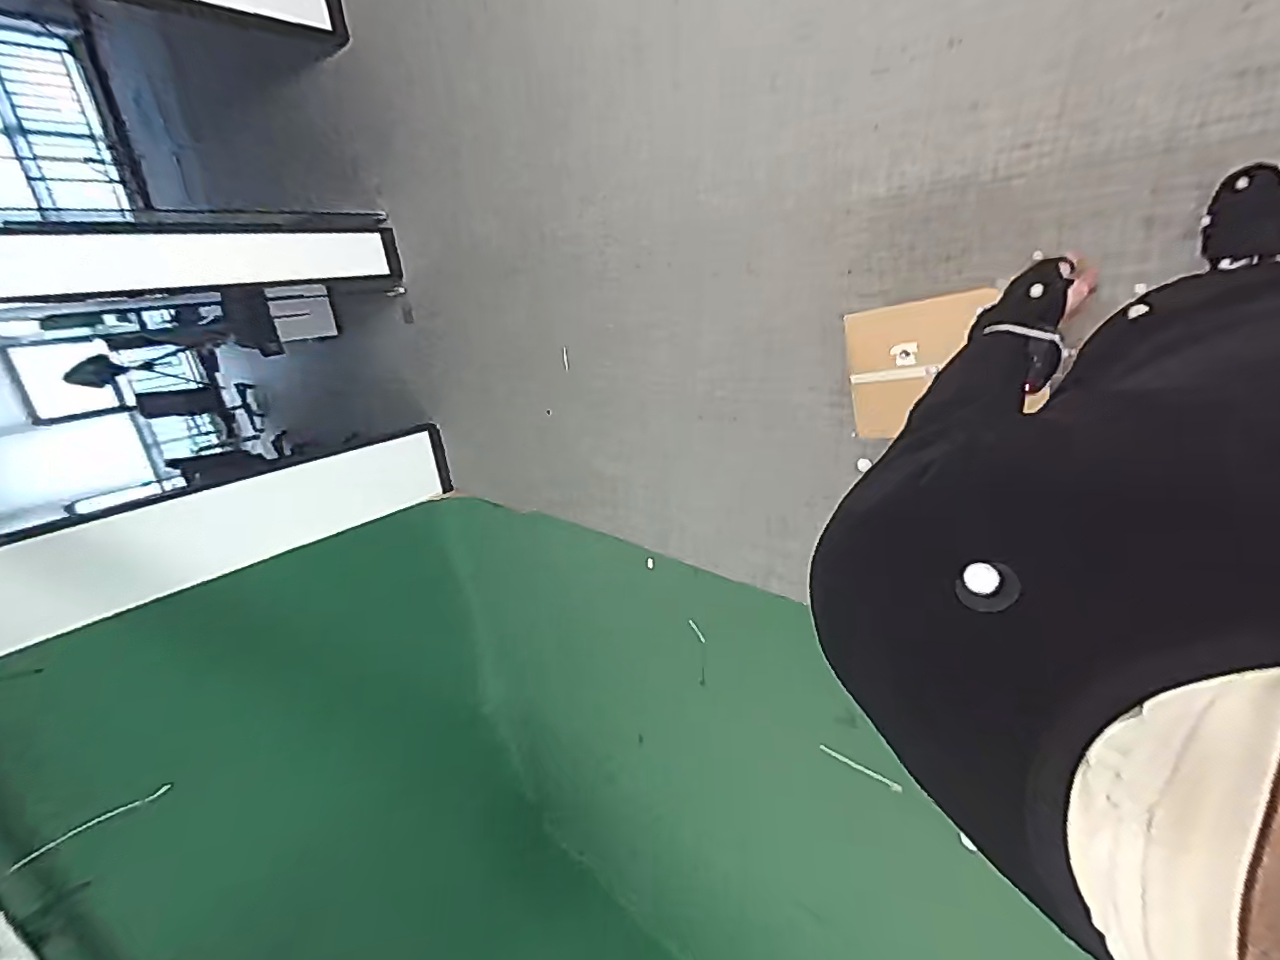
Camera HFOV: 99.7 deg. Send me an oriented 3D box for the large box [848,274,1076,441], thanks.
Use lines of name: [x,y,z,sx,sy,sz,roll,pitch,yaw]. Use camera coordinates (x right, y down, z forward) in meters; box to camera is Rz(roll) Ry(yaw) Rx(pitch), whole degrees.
large box: [0.777,-0.287,1.309,0.408,0.320,0.320,3,109,45]
